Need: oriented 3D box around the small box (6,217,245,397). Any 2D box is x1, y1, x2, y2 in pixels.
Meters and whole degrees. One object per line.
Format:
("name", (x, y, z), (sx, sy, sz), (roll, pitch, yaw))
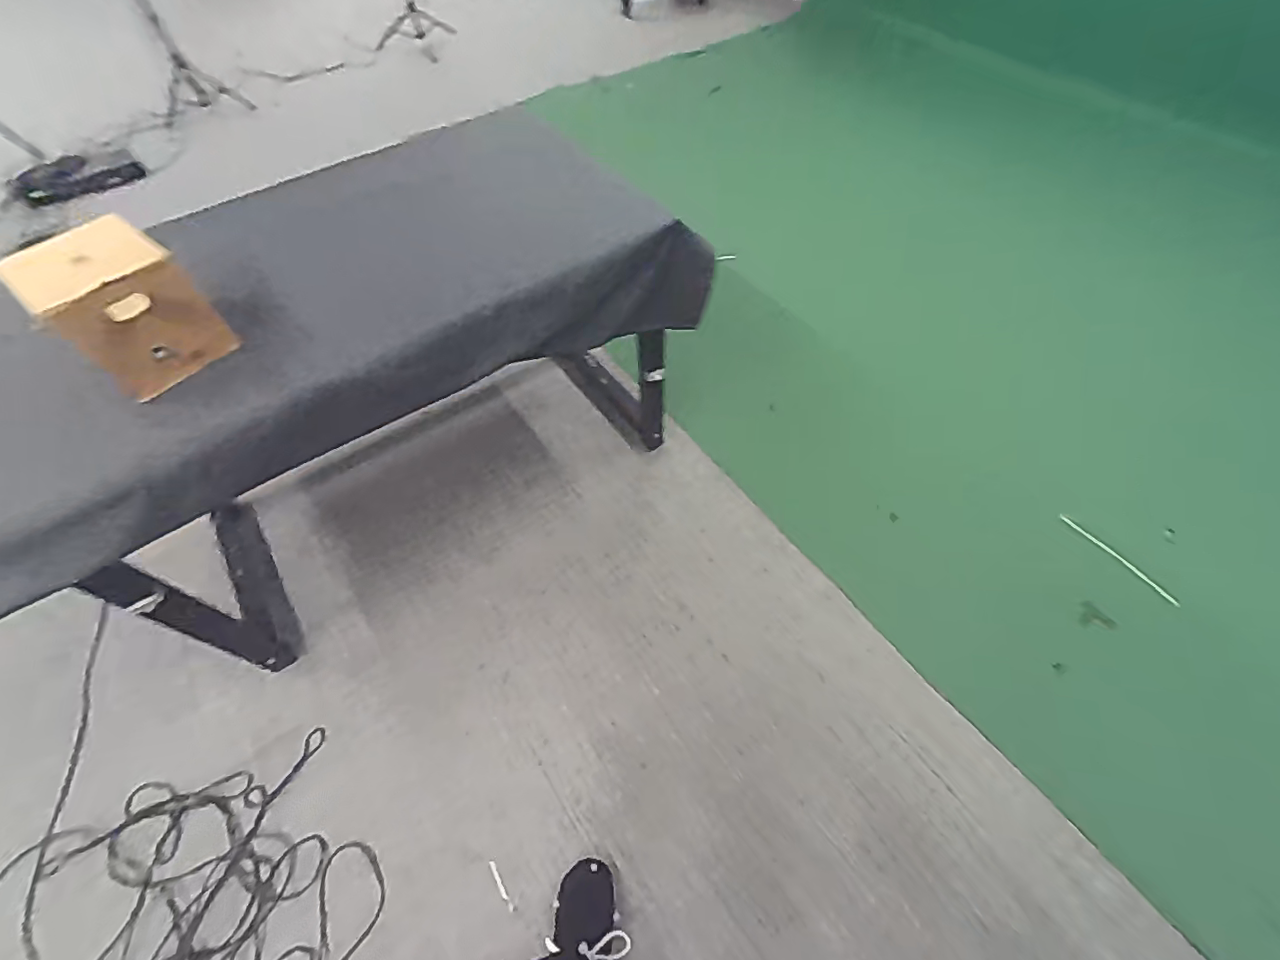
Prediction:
("small box", (-0.755, -0.256, 0.813), (0.179, 0.176, 0.168), (34, 62, 21))
